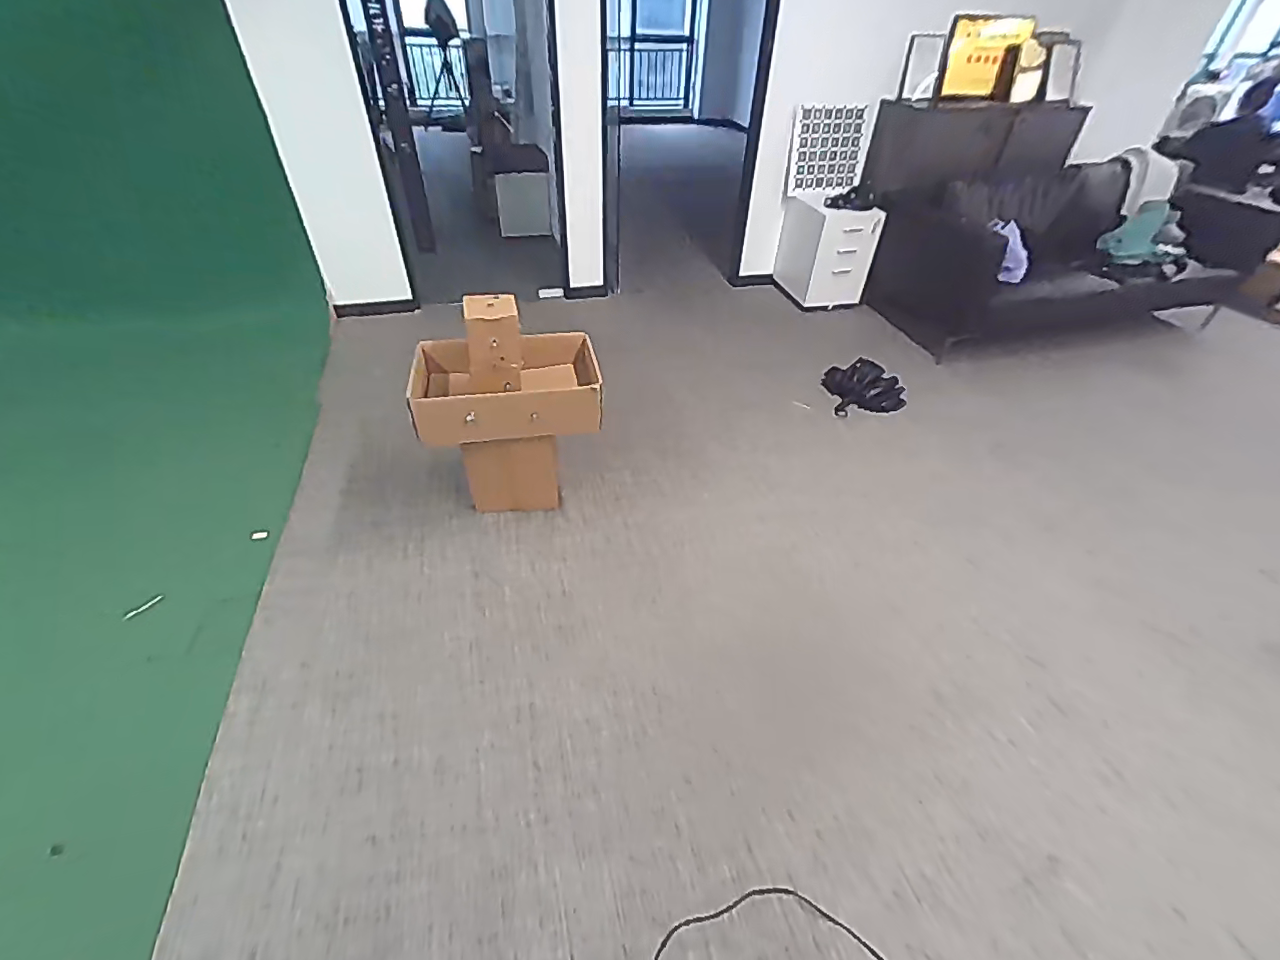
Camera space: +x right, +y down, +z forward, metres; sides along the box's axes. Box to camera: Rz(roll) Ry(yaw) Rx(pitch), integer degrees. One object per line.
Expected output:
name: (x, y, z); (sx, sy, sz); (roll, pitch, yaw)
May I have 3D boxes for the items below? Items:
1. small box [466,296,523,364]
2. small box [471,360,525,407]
small box: (-0.485, -0.497, 1.802); (0.168, 0.176, 0.179); (-7, 42, -14)
small box: (-0.496, -0.367, 1.902); (0.168, 0.176, 0.179); (-5, 39, -13)
